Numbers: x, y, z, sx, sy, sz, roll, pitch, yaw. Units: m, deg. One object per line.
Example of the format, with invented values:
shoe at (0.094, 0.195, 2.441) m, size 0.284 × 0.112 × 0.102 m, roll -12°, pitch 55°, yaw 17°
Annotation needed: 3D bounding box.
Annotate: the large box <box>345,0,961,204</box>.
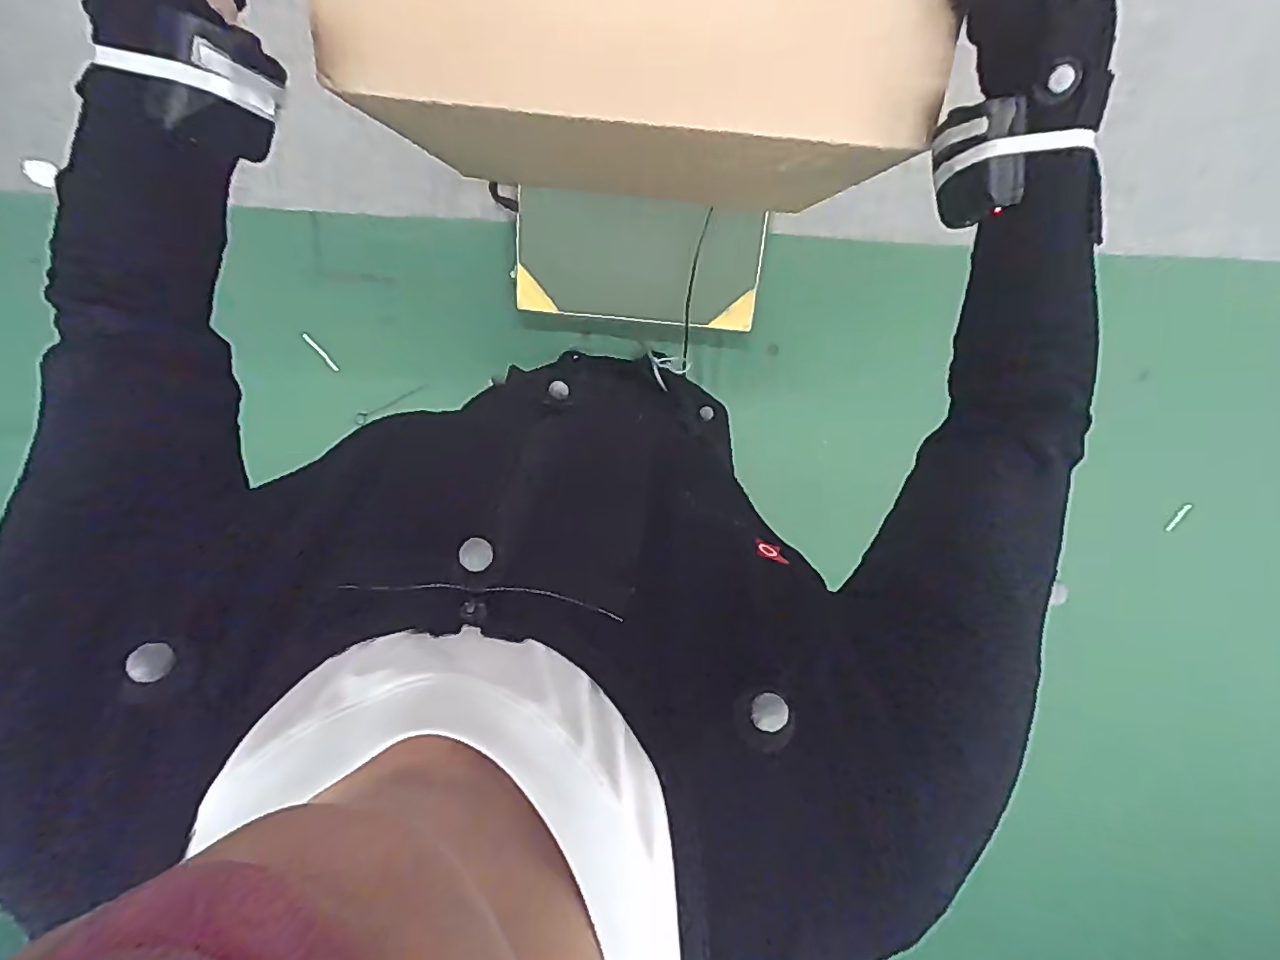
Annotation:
large box at (0.012, -0.439, 0.458) m, size 0.408 × 0.320 × 0.320 m, roll 4°, pitch 110°, yaw -3°
